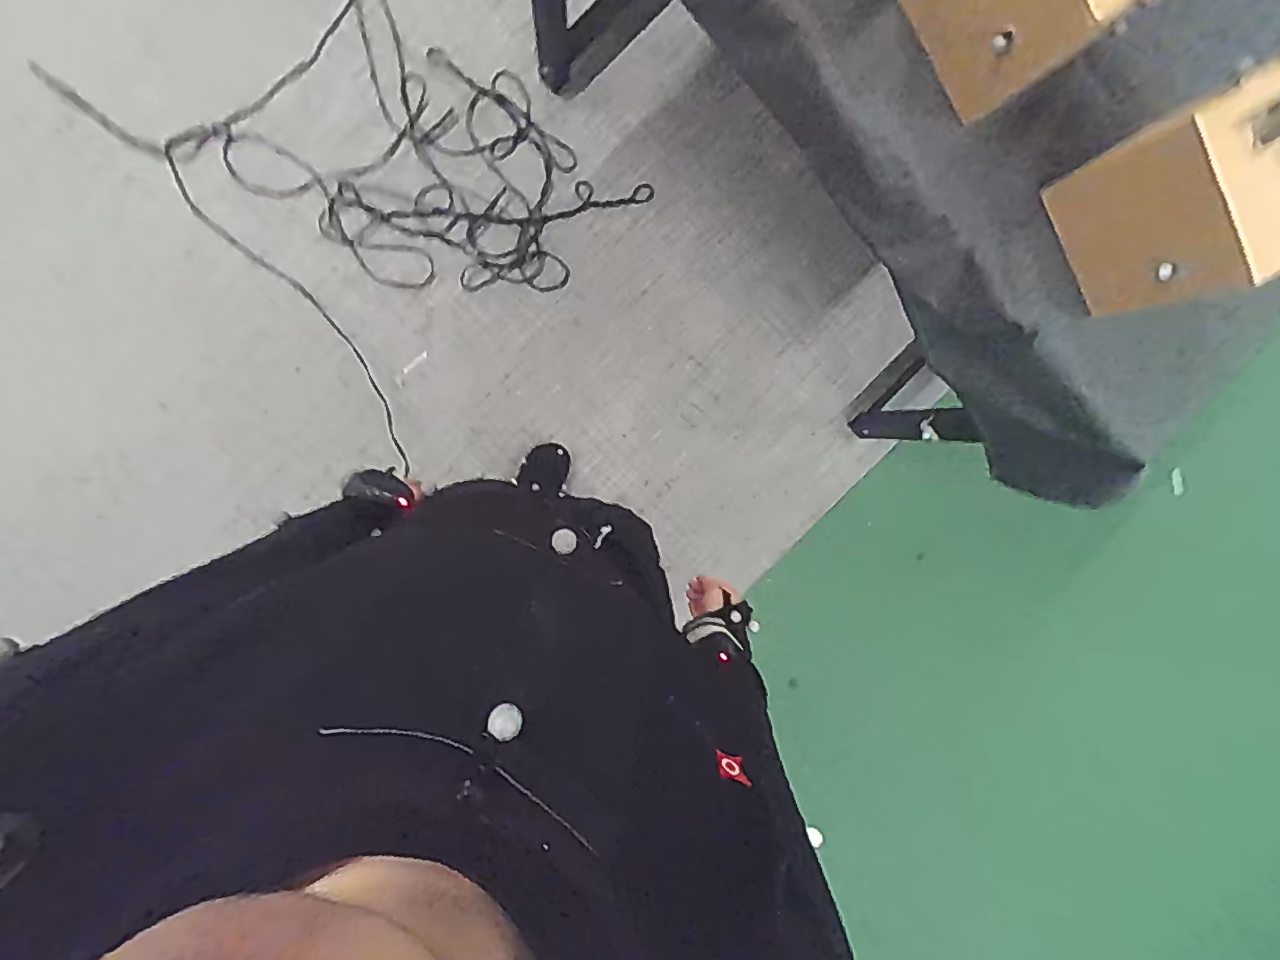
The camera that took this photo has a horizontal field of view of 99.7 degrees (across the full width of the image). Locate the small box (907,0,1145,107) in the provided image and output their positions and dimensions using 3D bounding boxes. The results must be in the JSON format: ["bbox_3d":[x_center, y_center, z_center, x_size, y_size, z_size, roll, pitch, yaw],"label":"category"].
[{"bbox_3d":[0.413,-0.524,0.545,0.168,0.176,0.179,-34,97,-4],"label":"small box"}]
